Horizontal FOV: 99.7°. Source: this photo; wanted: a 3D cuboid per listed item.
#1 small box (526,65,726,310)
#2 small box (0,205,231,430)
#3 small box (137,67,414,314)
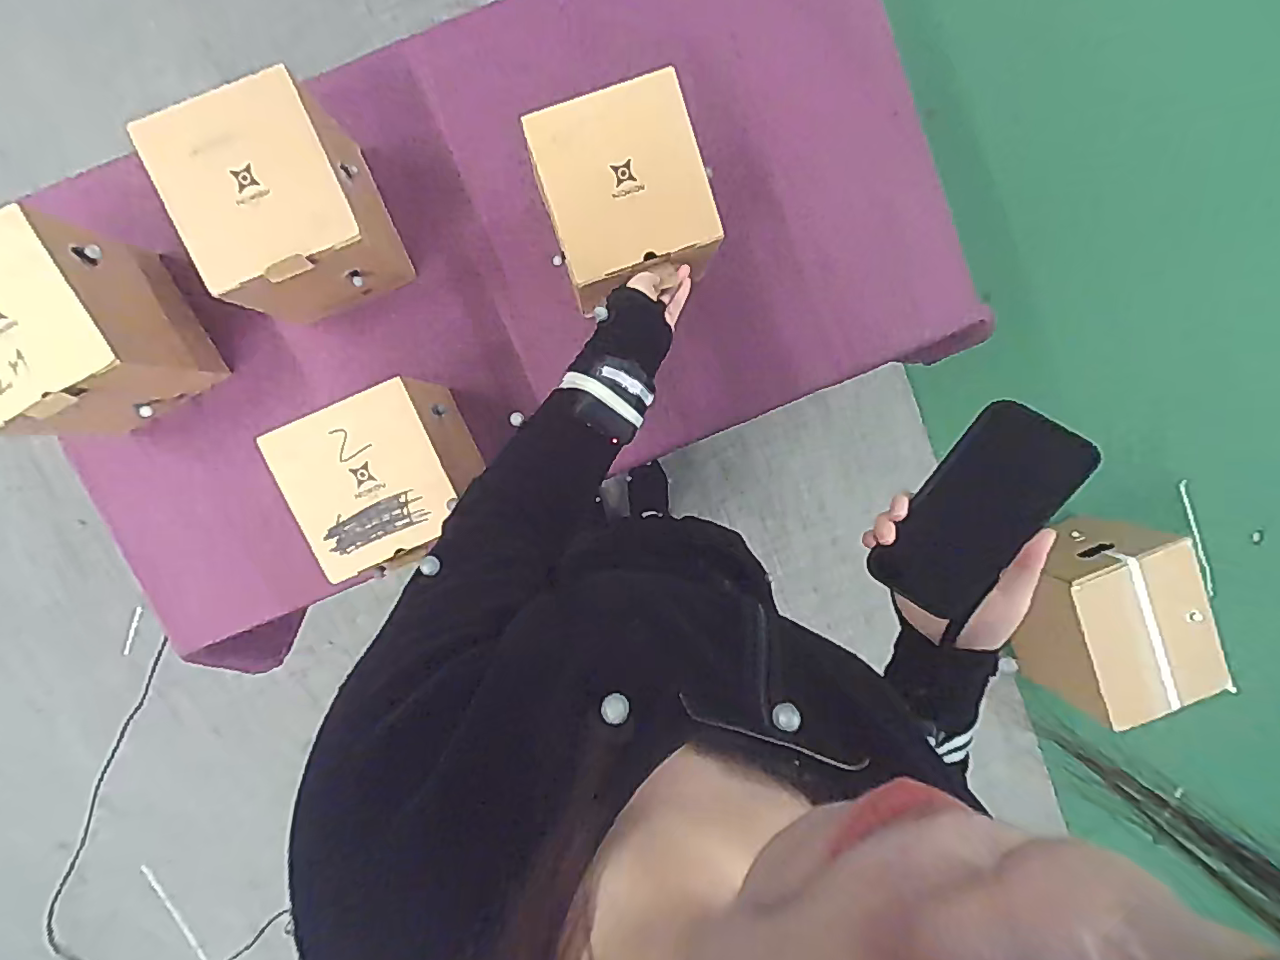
[{"bbox_3d":[-0.018,-0.321,0.632,0.168,0.176,0.179,-19,98,0],"label":"small box"},{"bbox_3d":[-0.635,-0.167,0.619,0.168,0.176,0.179,-28,97,1],"label":"small box"},{"bbox_3d":[-0.389,-0.304,0.617,0.168,0.176,0.179,-23,97,-1],"label":"small box"}]
